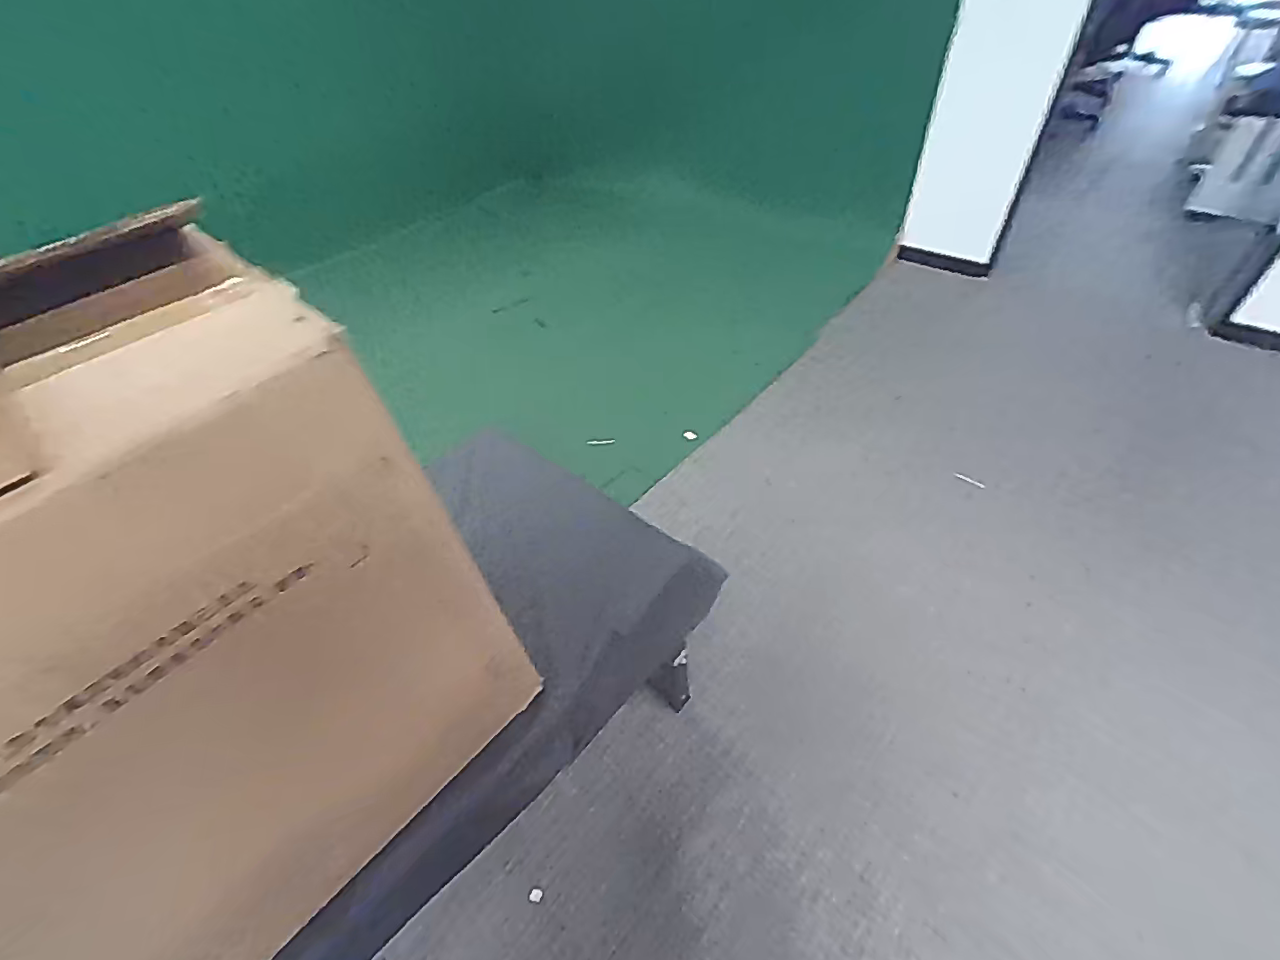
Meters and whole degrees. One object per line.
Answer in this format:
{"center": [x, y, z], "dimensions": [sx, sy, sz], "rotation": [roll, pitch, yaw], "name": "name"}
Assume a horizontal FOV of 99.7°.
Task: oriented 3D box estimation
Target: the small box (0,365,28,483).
{"center": [-0.459, -0.053, 0.253], "dimensions": [0.179, 0.176, 0.168], "rotation": [32, 58, 31], "name": "small box"}
